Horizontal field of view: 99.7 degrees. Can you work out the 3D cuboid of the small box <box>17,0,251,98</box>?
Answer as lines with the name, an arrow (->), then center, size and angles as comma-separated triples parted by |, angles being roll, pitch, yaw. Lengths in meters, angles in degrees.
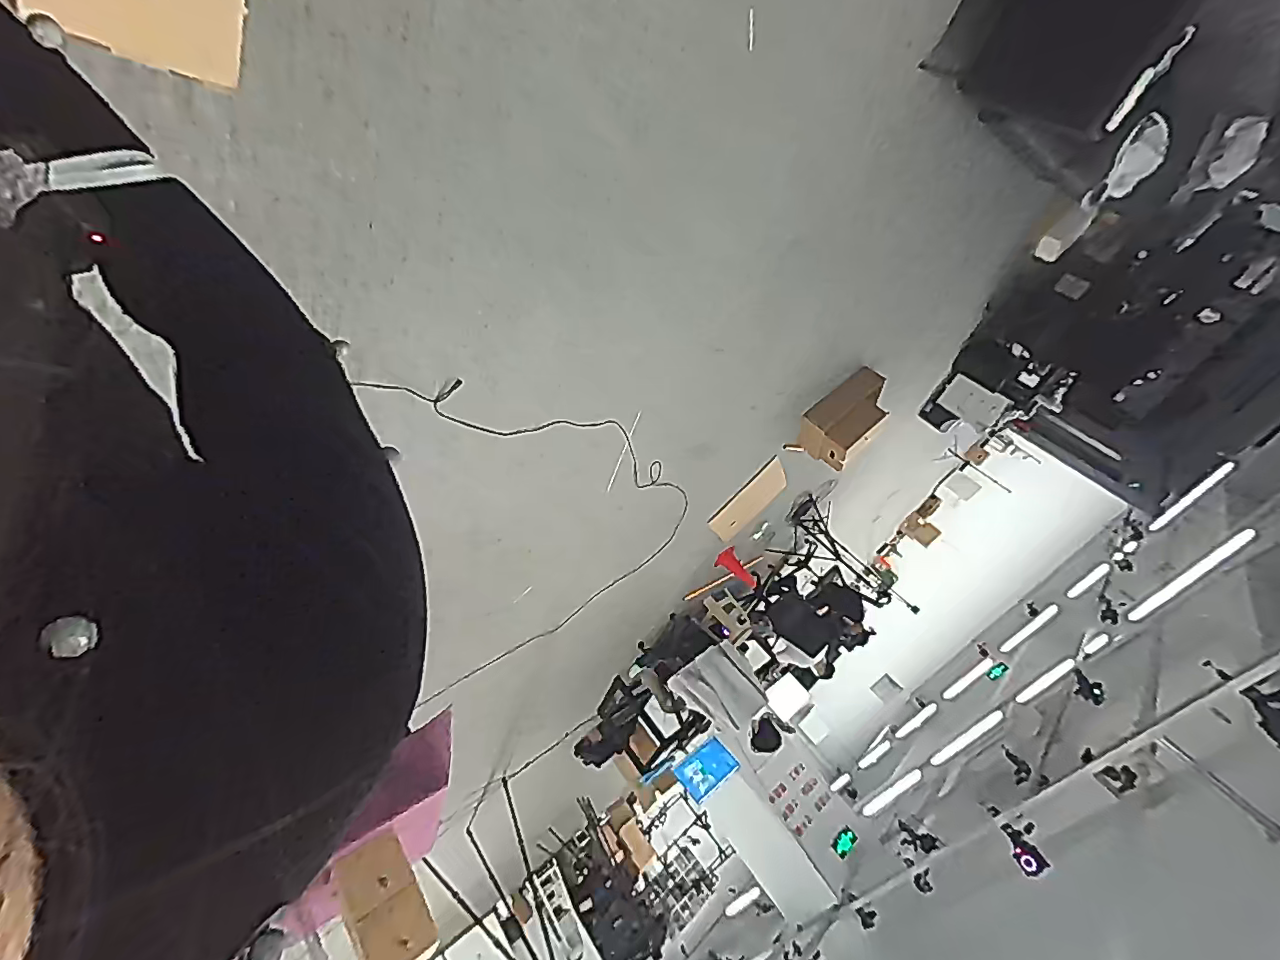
small box -> -0.511, -0.535, 0.541 | 0.168, 0.176, 0.179 | -9, 135, -50

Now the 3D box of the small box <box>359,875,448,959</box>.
small box -> -0.670, 1.269, 1.520 | 0.179, 0.176, 0.168 | -16, 141, -44

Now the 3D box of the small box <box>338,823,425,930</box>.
small box -> -0.767, 1.164, 1.599 | 0.179, 0.176, 0.168 | -14, 140, -43
